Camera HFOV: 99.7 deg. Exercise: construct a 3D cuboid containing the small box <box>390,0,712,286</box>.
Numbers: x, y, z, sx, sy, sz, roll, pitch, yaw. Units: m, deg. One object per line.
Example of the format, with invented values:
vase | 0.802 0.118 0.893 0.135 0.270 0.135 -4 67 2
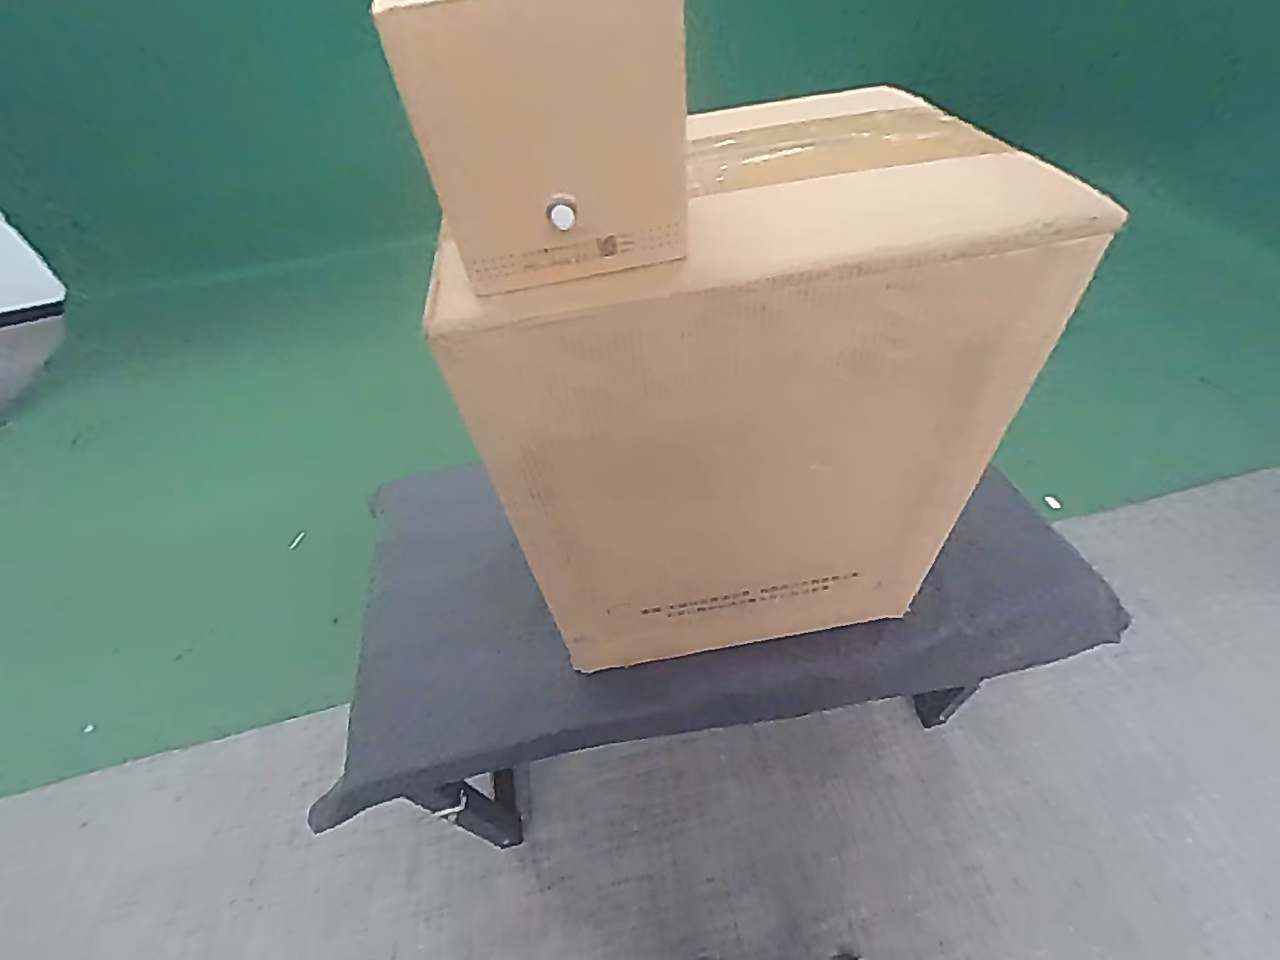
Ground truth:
small box | -0.049 -0.264 0.380 0.168 0.176 0.179 -10 51 -1
